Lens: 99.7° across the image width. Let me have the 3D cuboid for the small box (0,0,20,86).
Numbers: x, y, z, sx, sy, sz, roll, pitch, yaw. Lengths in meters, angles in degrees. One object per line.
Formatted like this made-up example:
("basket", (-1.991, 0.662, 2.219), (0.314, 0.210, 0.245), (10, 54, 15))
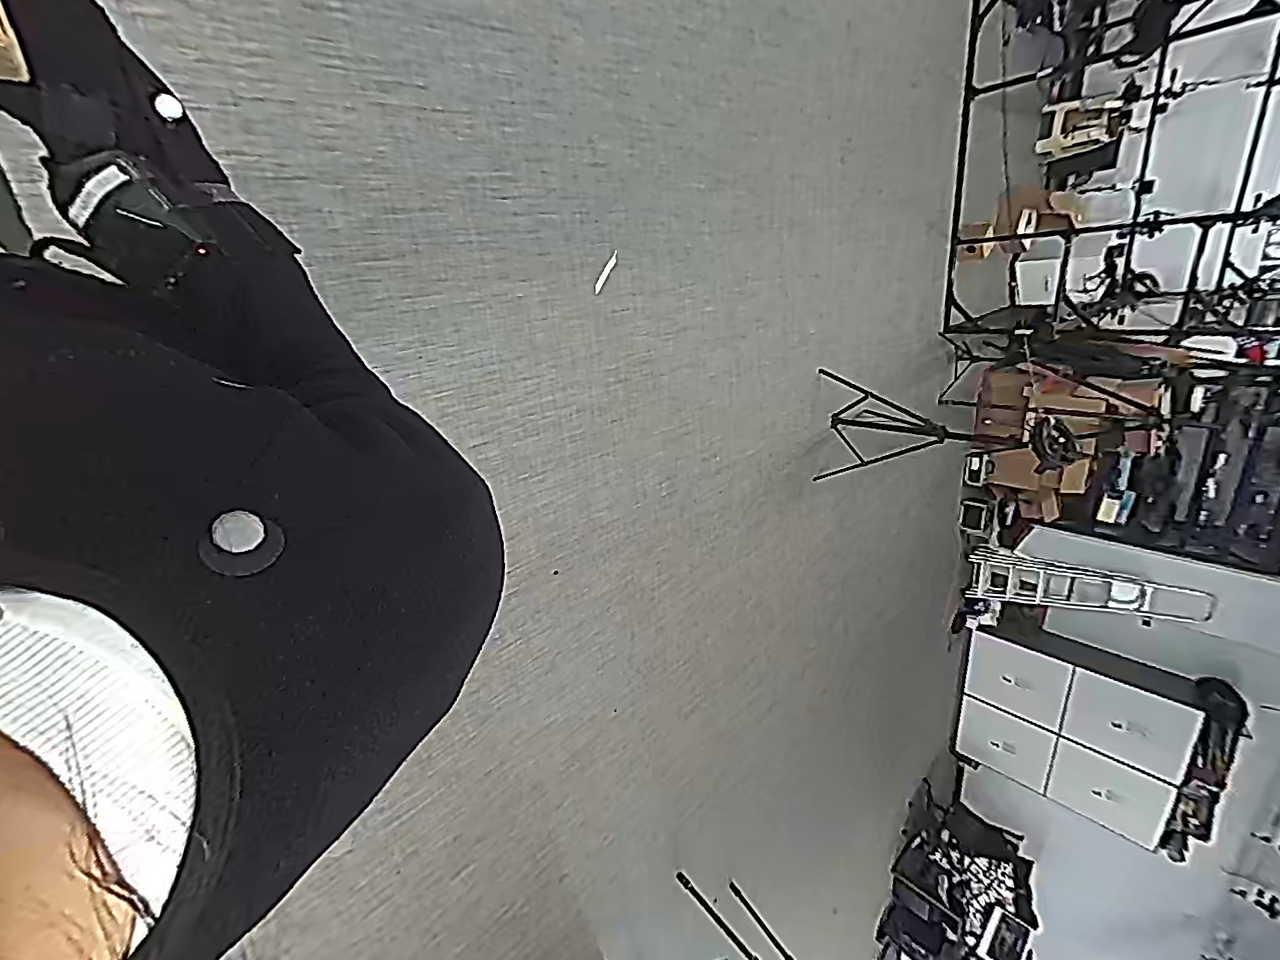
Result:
("small box", (-0.333, -0.238, 0.151), (0.176, 0.168, 0.179), (-20, 126, -39))
